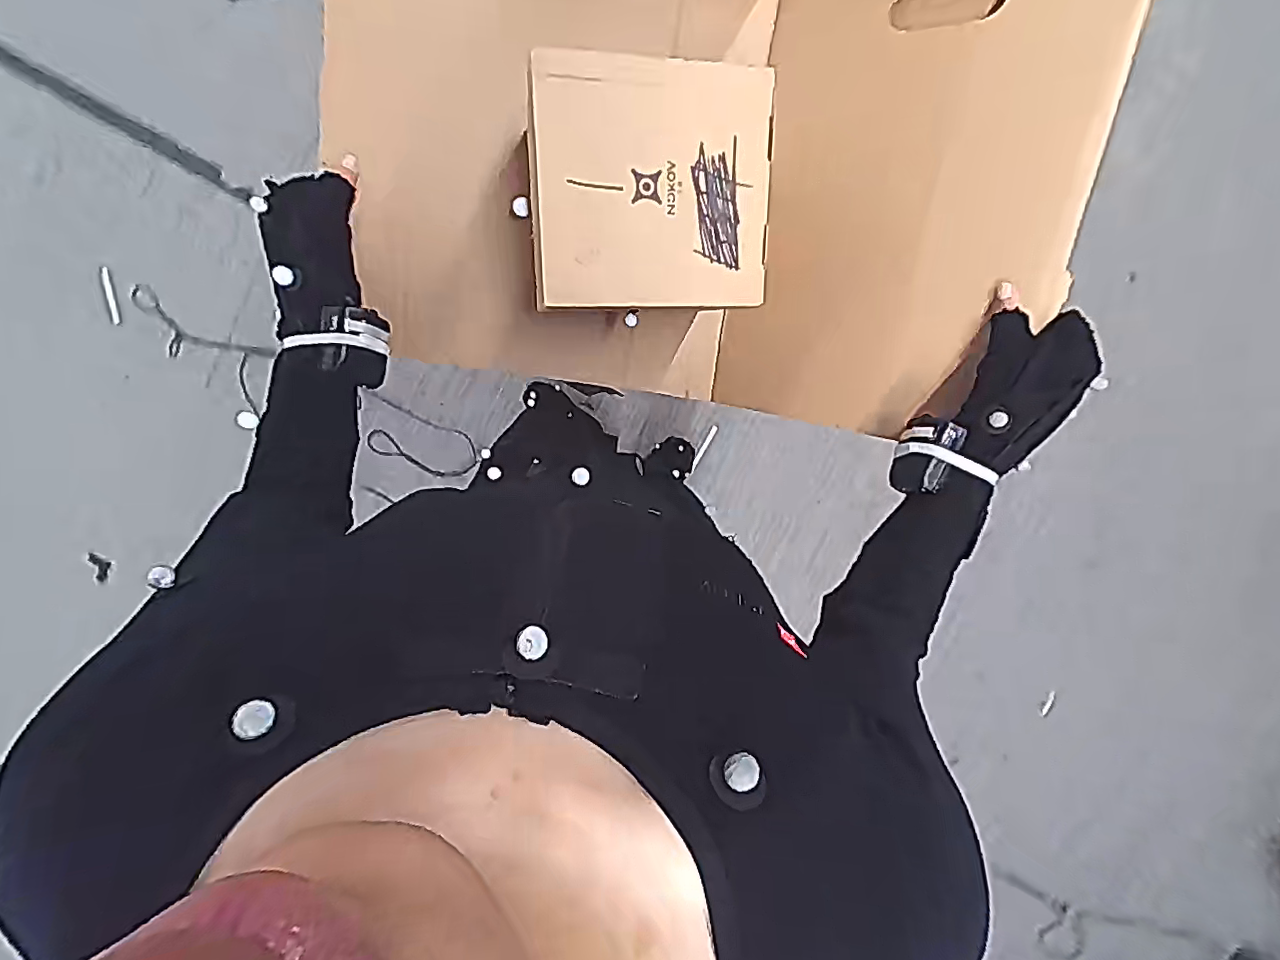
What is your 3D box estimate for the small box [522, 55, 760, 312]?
[{"bbox_3d":[-0.011,-0.239,0.480,0.179,0.176,0.168,-5,106,-10],"label":"small box"}]
